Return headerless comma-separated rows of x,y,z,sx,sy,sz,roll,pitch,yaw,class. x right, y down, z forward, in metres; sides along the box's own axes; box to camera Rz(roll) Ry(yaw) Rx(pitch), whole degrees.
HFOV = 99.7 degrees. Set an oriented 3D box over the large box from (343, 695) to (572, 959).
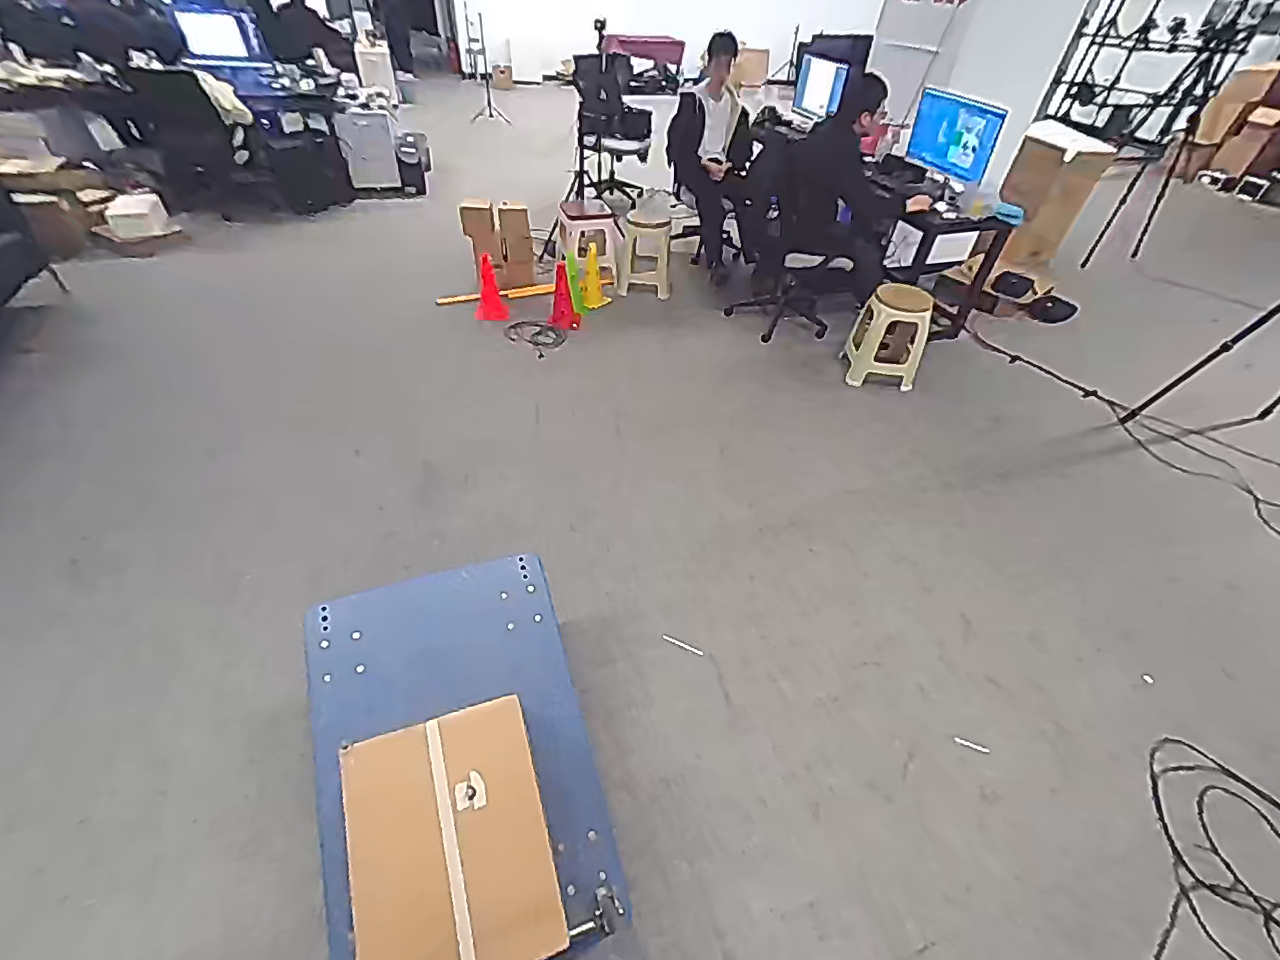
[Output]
-0.336,0.679,1.039,0.320,0.320,0.408,-12,66,-17,large box
